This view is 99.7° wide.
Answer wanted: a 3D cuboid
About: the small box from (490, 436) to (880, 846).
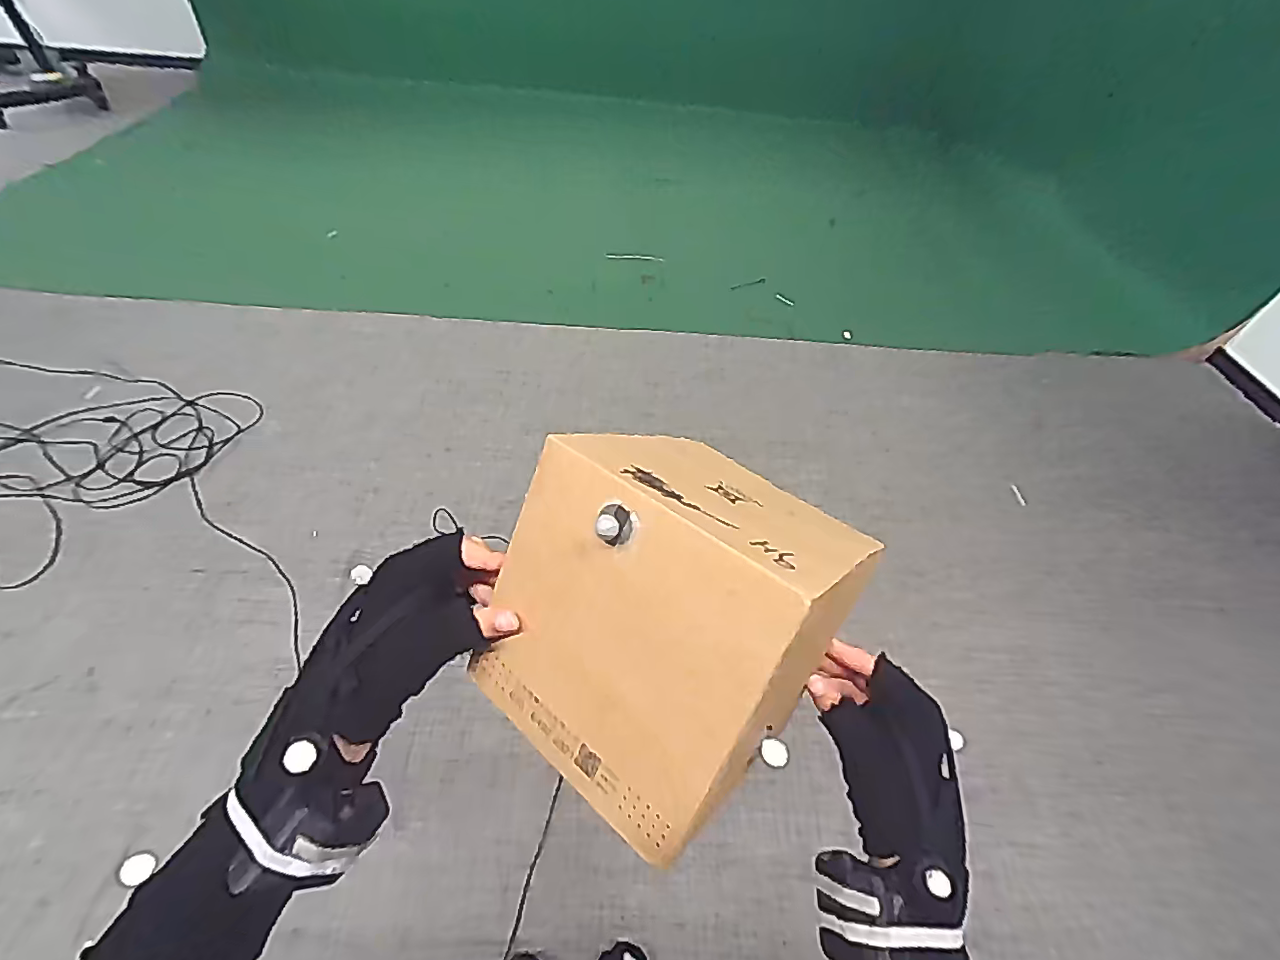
[{"bbox_3d":[0.030,0.085,0.364,0.168,0.176,0.179,31,17,29],"label":"small box"}]
